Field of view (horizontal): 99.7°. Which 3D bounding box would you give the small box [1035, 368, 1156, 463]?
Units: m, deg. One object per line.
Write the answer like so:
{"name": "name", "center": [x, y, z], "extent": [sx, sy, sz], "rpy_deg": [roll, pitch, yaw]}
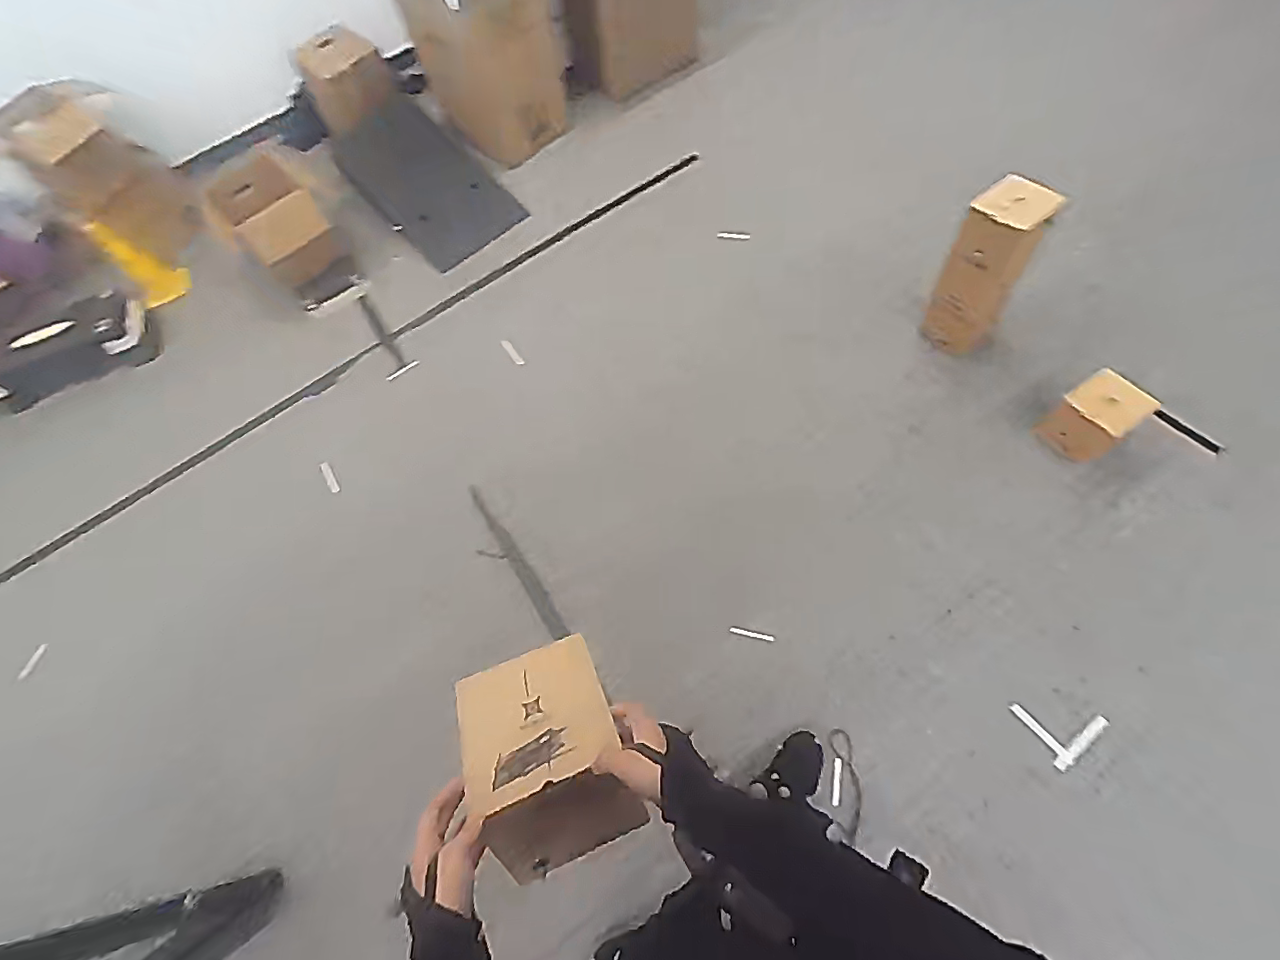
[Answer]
{"name": "small box", "center": [1.306, -0.182, 1.567], "extent": [0.179, 0.176, 0.168], "rpy_deg": [-34, 63, -8]}

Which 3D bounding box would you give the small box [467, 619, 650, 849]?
{"name": "small box", "center": [-0.097, 0.309, 0.656], "extent": [0.168, 0.176, 0.179], "rpy_deg": [-18, 36, -11]}

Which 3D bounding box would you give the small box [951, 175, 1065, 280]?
{"name": "small box", "center": [1.010, -0.699, 1.505], "extent": [0.179, 0.176, 0.168], "rpy_deg": [-37, 62, -9]}

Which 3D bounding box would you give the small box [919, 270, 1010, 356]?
{"name": "small box", "center": [1.065, -0.551, 1.792], "extent": [0.179, 0.176, 0.168], "rpy_deg": [-37, 63, -10]}
